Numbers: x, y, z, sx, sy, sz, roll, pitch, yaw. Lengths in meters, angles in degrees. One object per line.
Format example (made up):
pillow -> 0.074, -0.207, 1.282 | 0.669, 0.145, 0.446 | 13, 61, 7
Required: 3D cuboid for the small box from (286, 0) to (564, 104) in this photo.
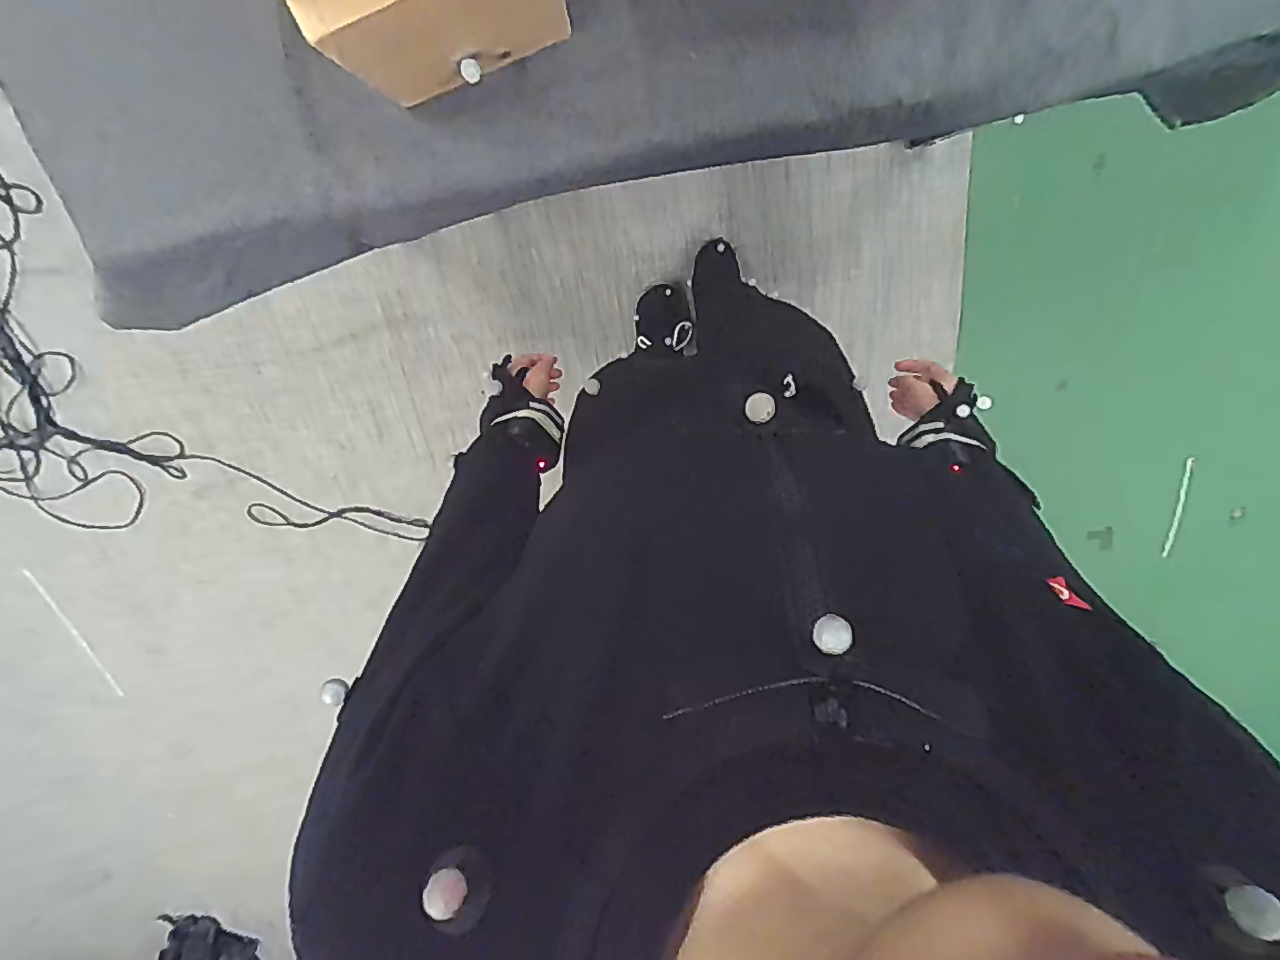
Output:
small box -> -0.163, -0.402, 0.372 | 0.168, 0.176, 0.179 | -19, 113, 6
